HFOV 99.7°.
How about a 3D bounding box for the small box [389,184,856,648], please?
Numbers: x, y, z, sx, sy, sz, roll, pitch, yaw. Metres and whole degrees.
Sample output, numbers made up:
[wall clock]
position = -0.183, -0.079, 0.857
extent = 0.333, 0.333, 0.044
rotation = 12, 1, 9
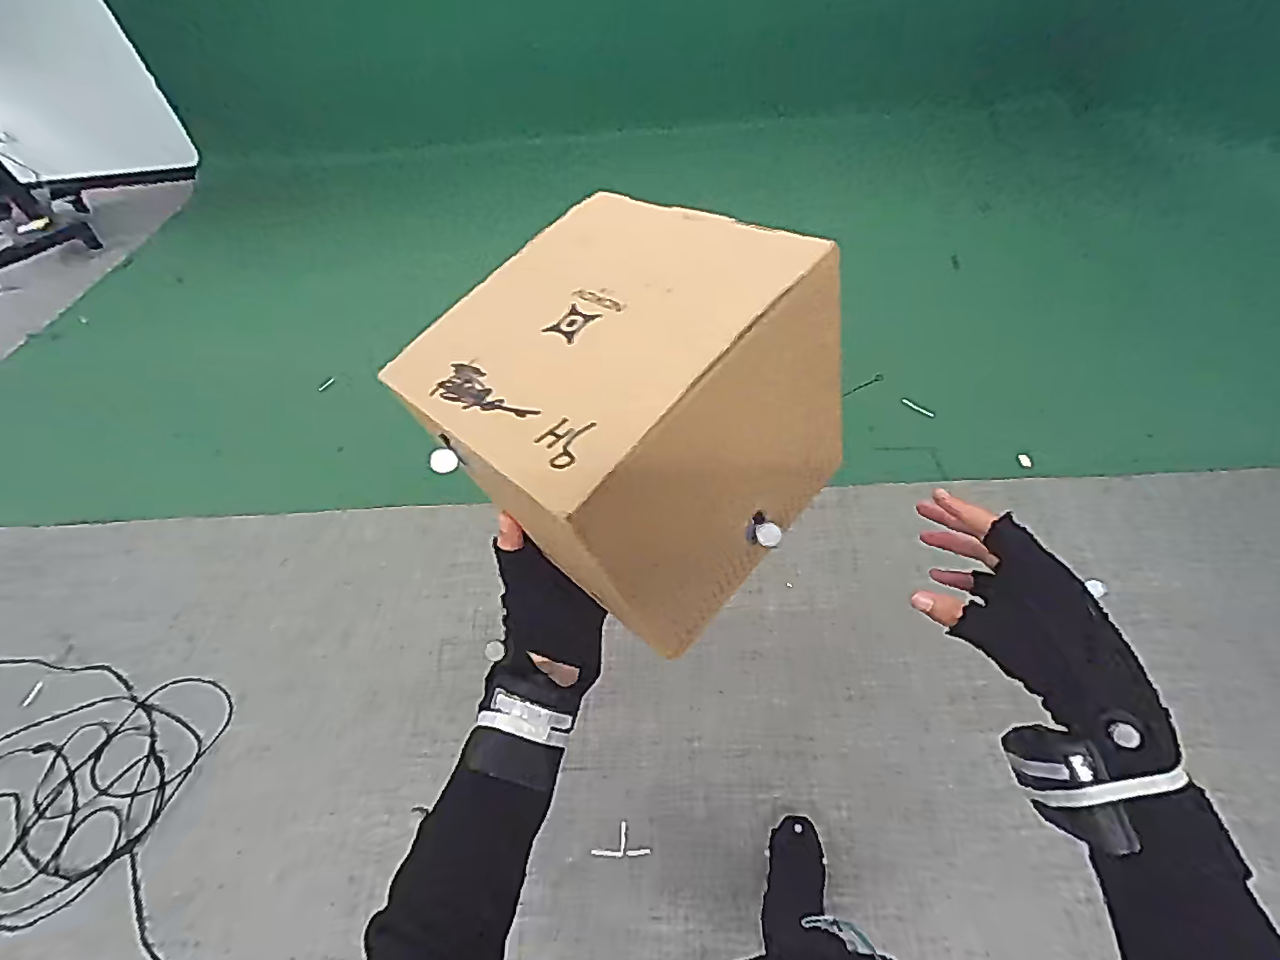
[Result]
[small box]
position = 0.002, -0.037, 0.320
extent = 0.168, 0.176, 0.179
rotation = 33, 71, 35
